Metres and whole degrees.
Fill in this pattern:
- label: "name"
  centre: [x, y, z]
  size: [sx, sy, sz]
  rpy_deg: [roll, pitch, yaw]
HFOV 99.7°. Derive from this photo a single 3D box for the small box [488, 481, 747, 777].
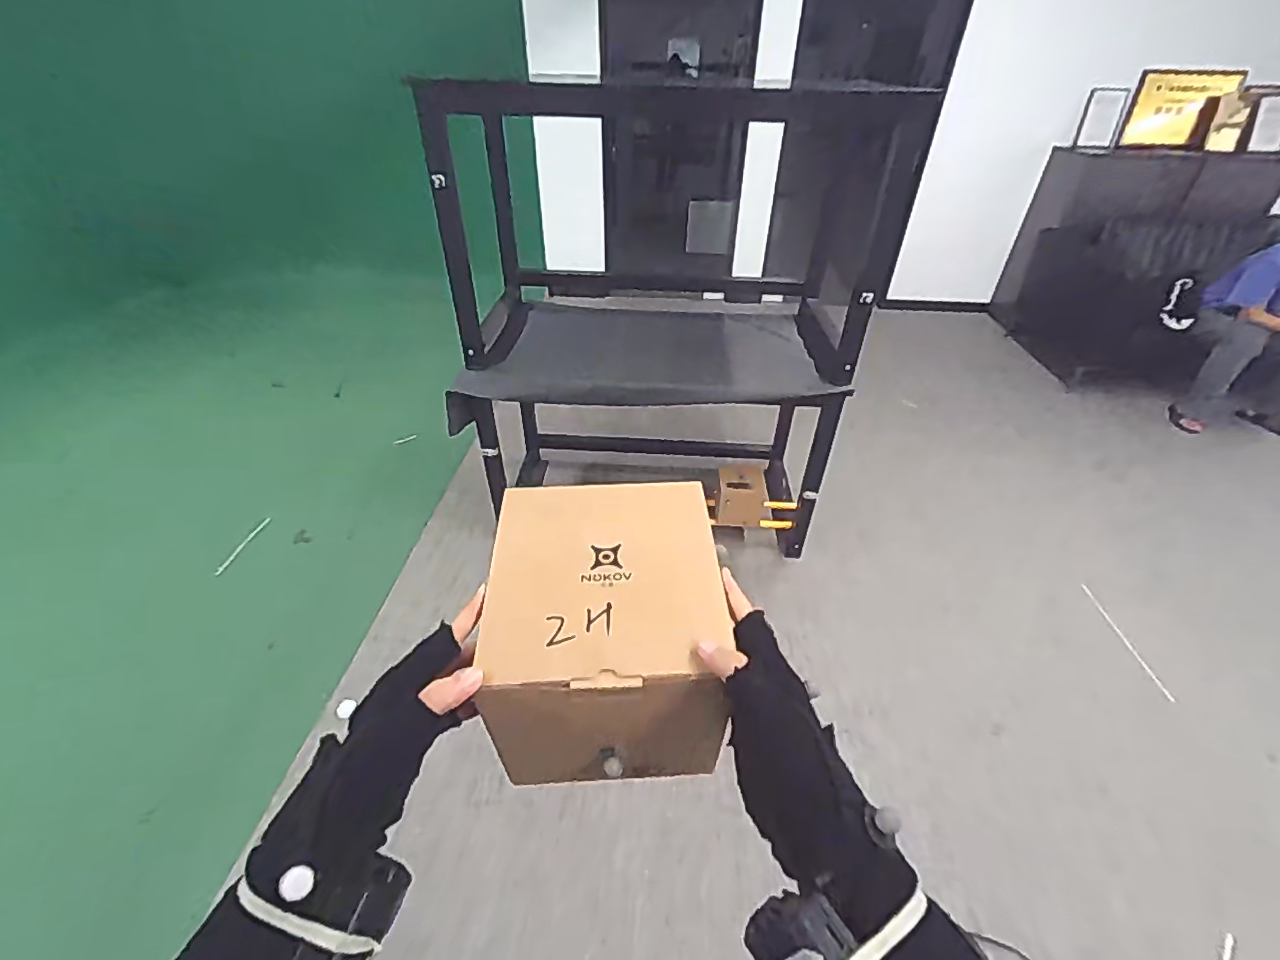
- label: "small box"
  centre: [-0.017, 0.120, 0.450]
  size: [0.168, 0.176, 0.179]
  rpy_deg: [-2, 42, -2]
